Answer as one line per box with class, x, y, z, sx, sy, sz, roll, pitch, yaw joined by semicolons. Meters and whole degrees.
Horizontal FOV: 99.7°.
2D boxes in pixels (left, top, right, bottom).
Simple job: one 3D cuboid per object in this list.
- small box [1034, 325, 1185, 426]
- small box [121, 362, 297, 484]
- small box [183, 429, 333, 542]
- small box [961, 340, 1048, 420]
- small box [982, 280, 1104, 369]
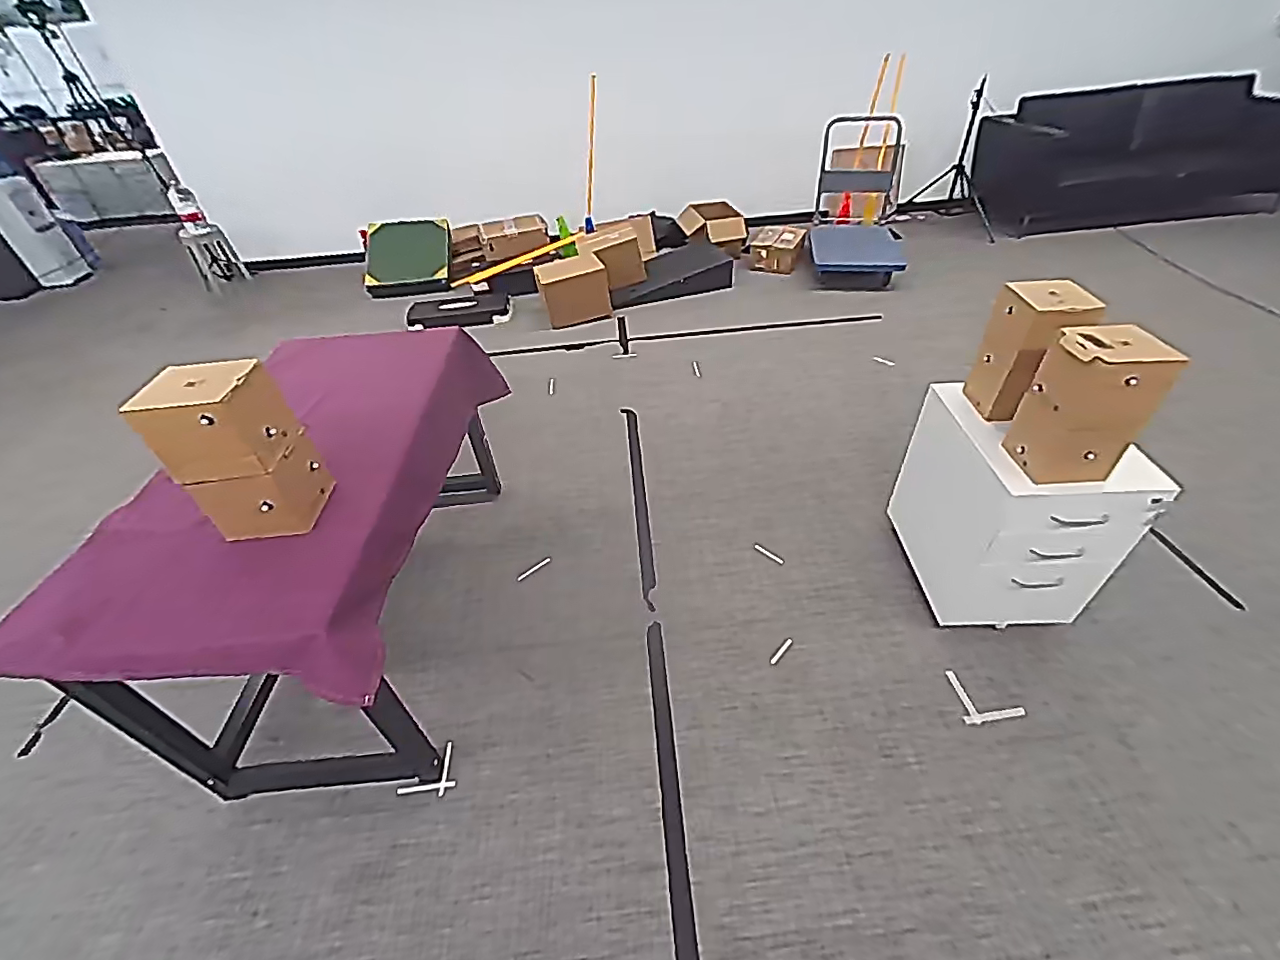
small box;1.033;-0.232;1.216;0.179;0.176;0.168;-3;41;1
small box;-0.807;-0.106;1.038;0.179;0.176;0.168;-6;40;-4
small box;-0.791;0.013;1.147;0.179;0.176;0.168;-6;41;-1
small box;1.049;-0.282;1.520;0.179;0.176;0.168;-1;42;3
small box;1.035;-0.406;1.411;0.168;0.176;0.179;-2;42;3
